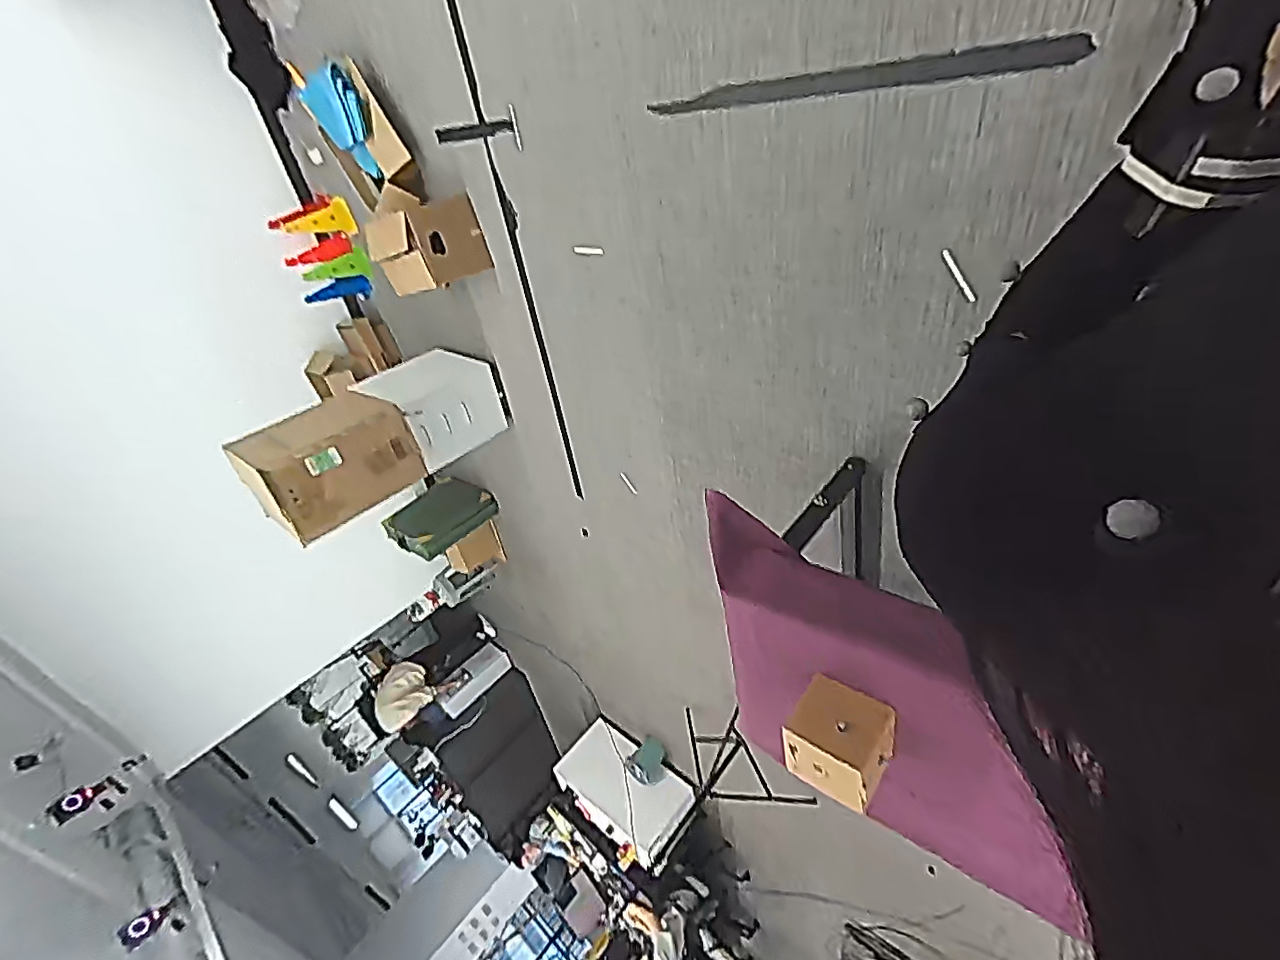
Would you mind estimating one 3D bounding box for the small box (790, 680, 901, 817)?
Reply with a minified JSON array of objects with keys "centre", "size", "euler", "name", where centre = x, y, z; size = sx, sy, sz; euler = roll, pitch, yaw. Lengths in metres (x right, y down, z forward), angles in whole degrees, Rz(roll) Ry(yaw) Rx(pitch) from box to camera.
[{"centre":[0.446,0.567,1.165],"size":[0.179,0.176,0.168],"euler":[16,131,40],"name":"small box"}]
